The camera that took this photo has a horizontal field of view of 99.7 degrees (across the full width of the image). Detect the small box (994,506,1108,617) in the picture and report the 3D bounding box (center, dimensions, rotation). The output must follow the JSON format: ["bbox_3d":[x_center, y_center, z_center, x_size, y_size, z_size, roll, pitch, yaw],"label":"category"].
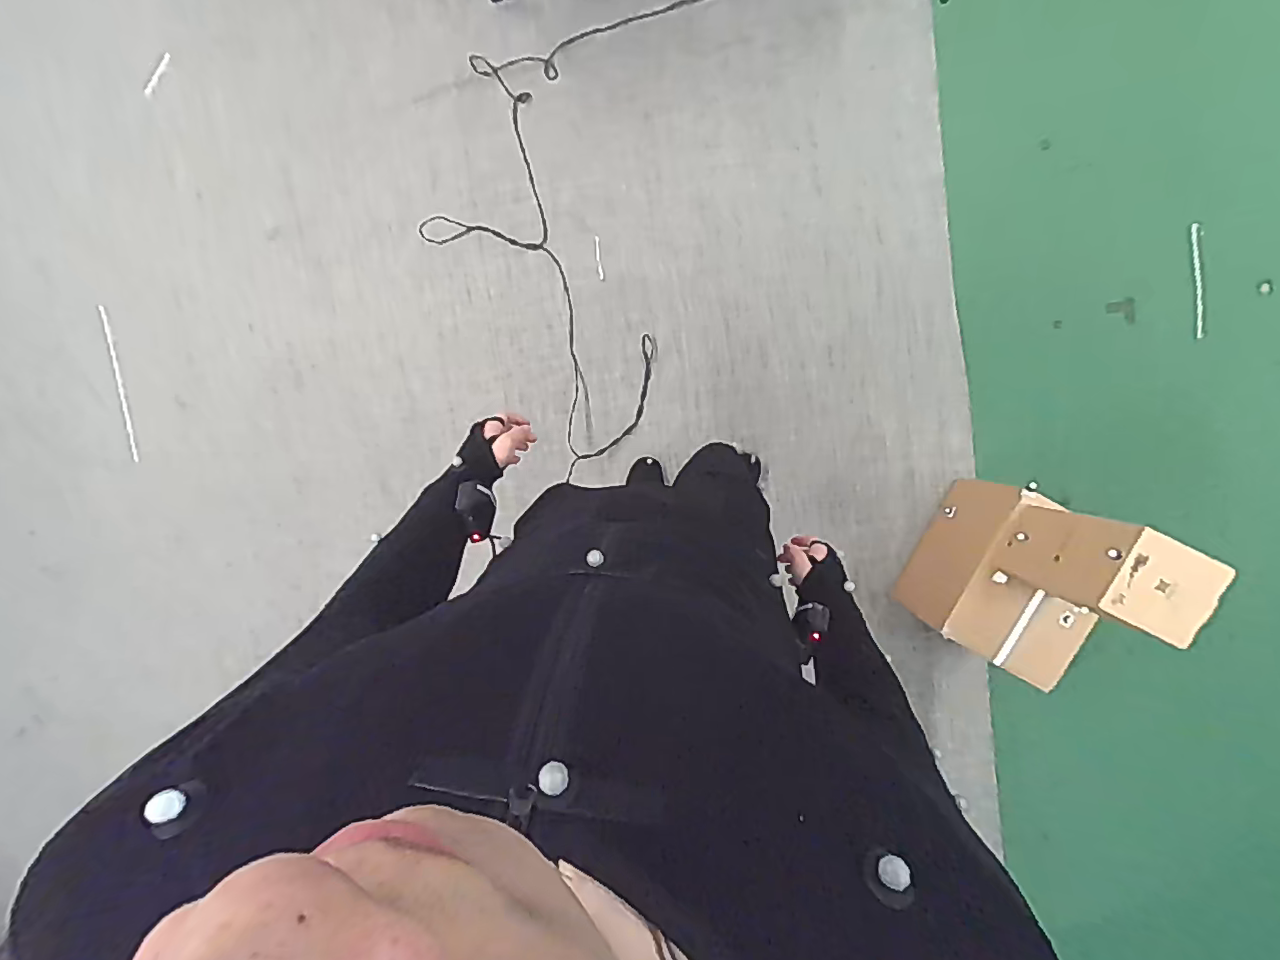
[{"bbox_3d":[0.948,0.170,1.203,0.179,0.176,0.168,27,96,1],"label":"small box"}]

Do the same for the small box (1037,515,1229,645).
[{"bbox_3d":[0.931,0.180,1.040,0.179,0.176,0.168,27,96,0],"label":"small box"}]
